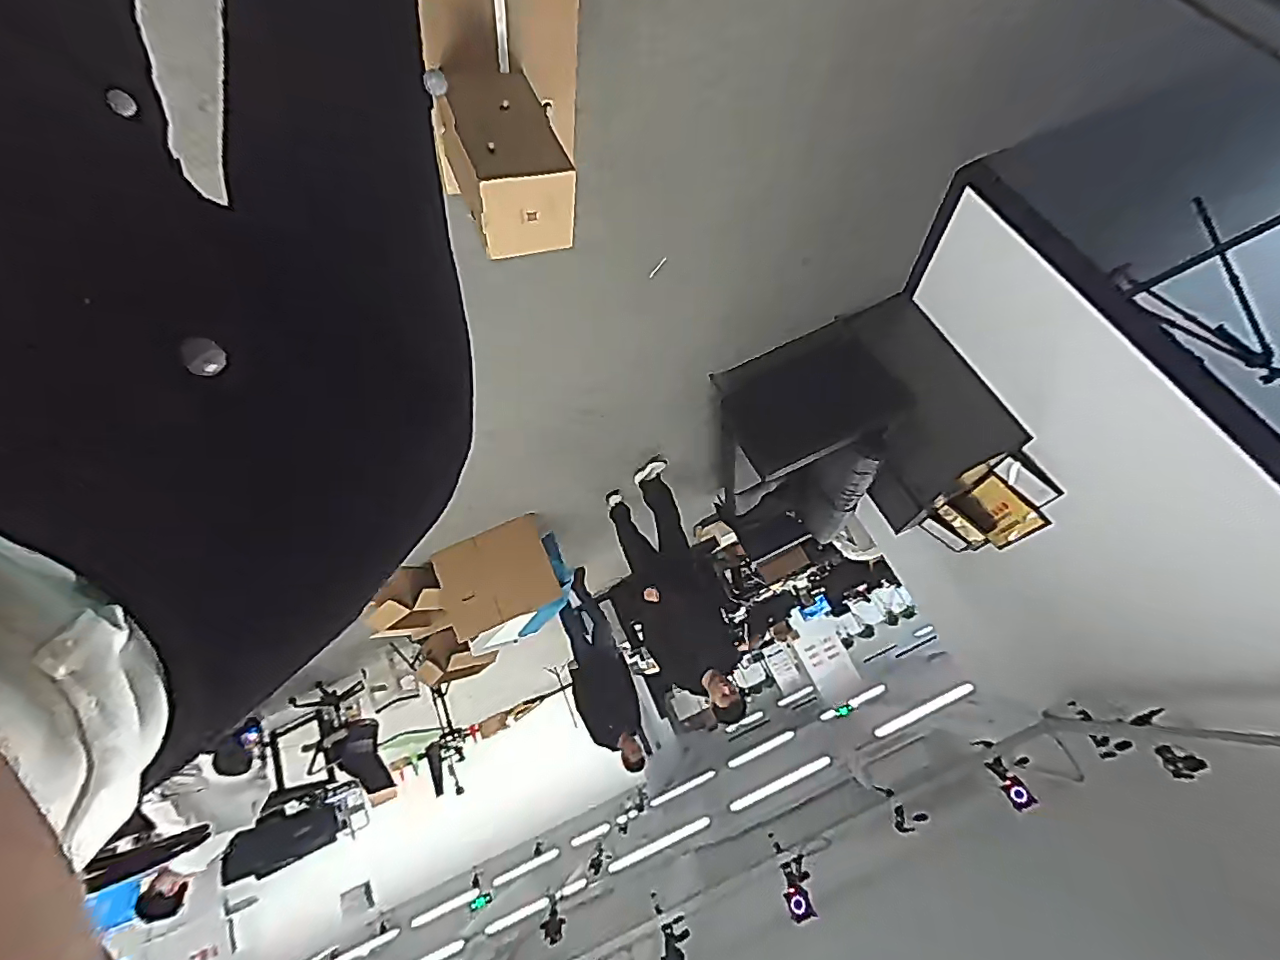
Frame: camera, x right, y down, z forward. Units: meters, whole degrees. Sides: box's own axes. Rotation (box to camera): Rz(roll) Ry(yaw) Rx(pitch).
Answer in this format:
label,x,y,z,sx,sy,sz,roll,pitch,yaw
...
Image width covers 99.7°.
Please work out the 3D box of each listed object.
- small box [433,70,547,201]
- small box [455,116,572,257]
label,x,y,z,sx,sy,sz,roll,pitch,yaw
small box,-0.301,-0.695,1.092,0.179,0.176,0.168,-16,156,-20
small box,-0.243,-0.557,1.027,0.179,0.176,0.168,-18,157,-19
